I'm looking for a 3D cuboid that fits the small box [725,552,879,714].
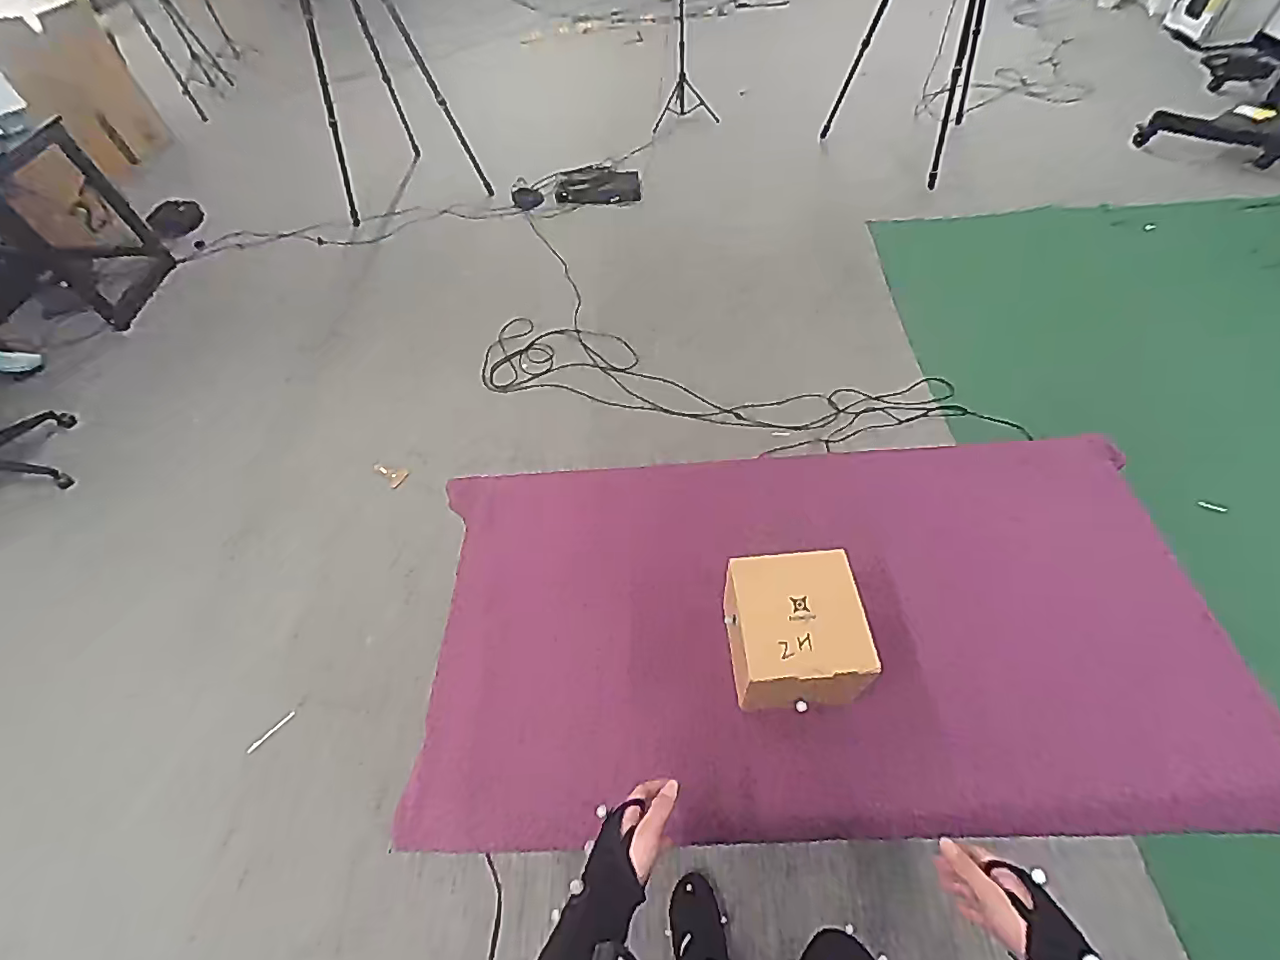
[{"bbox_3d":[0.217,0.224,0.783,0.168,0.176,0.179,-5,54,2],"label":"small box"}]
